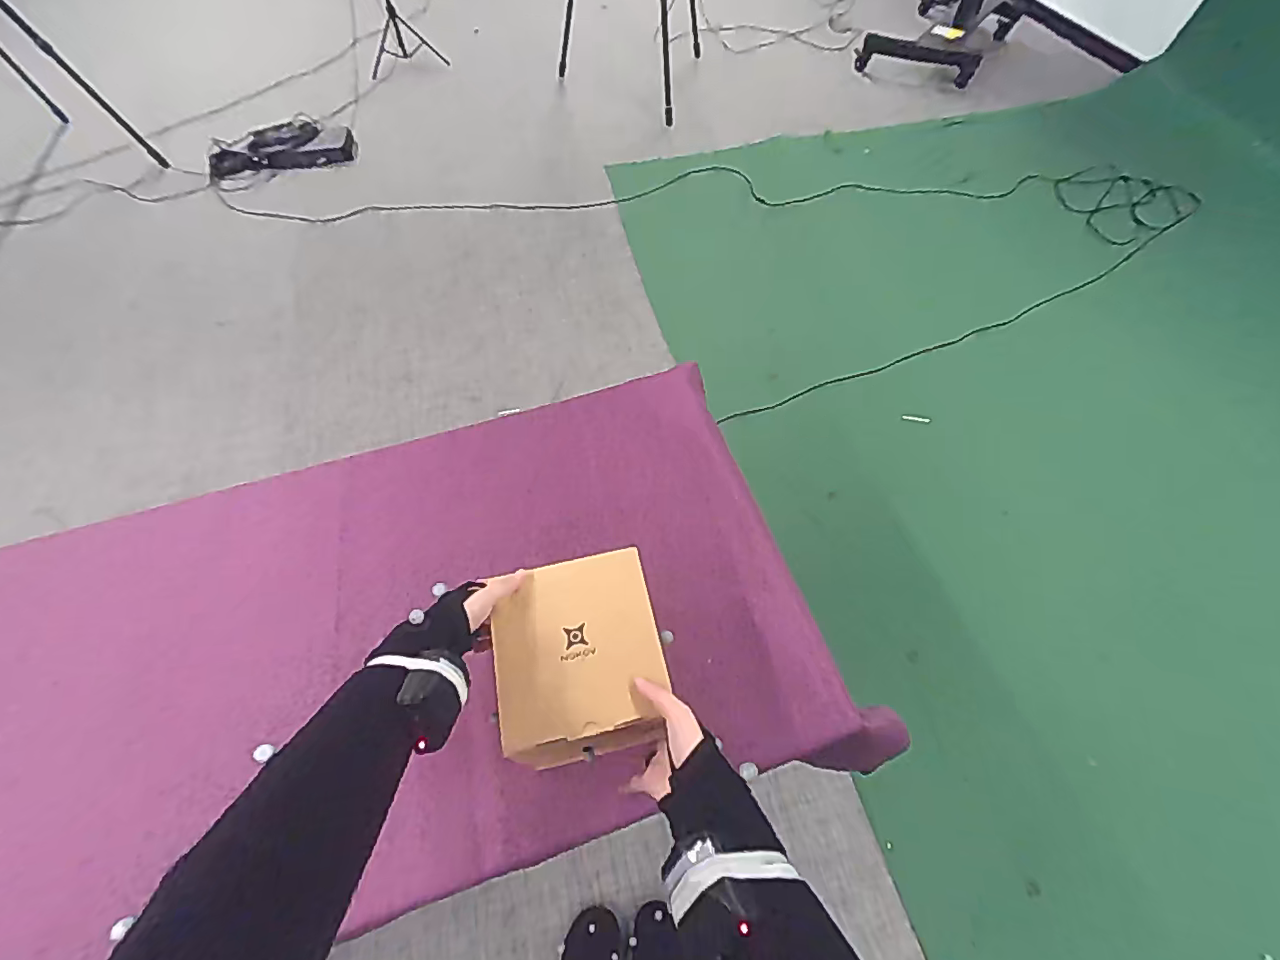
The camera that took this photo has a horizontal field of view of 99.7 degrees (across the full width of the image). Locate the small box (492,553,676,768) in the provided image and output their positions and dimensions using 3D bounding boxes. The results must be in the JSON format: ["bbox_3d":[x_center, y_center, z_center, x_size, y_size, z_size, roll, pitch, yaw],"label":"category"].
[{"bbox_3d":[-0.063,0.208,0.613,0.168,0.176,0.179,-12,59,-6],"label":"small box"}]
